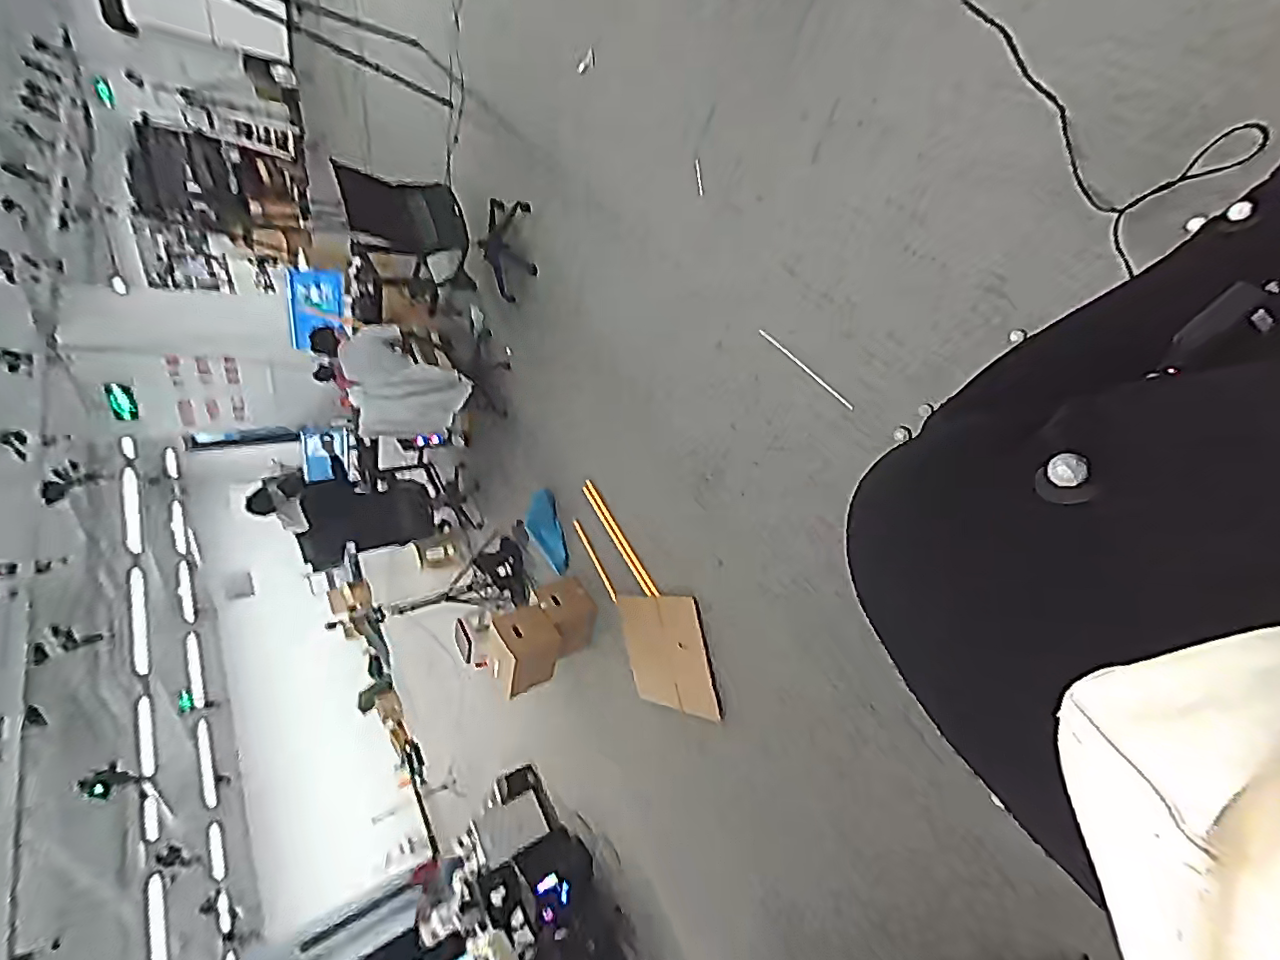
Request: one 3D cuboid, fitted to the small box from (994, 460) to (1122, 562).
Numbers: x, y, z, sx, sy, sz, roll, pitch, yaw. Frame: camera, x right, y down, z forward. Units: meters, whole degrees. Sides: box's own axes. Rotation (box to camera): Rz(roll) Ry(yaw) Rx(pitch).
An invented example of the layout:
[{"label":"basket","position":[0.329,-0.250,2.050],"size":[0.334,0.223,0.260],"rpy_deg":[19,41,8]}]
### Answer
[{"label":"small box","position":[1.031,0.069,1.329],"size":[0.168,0.176,0.179],"rpy_deg":[51,136,34]}]
